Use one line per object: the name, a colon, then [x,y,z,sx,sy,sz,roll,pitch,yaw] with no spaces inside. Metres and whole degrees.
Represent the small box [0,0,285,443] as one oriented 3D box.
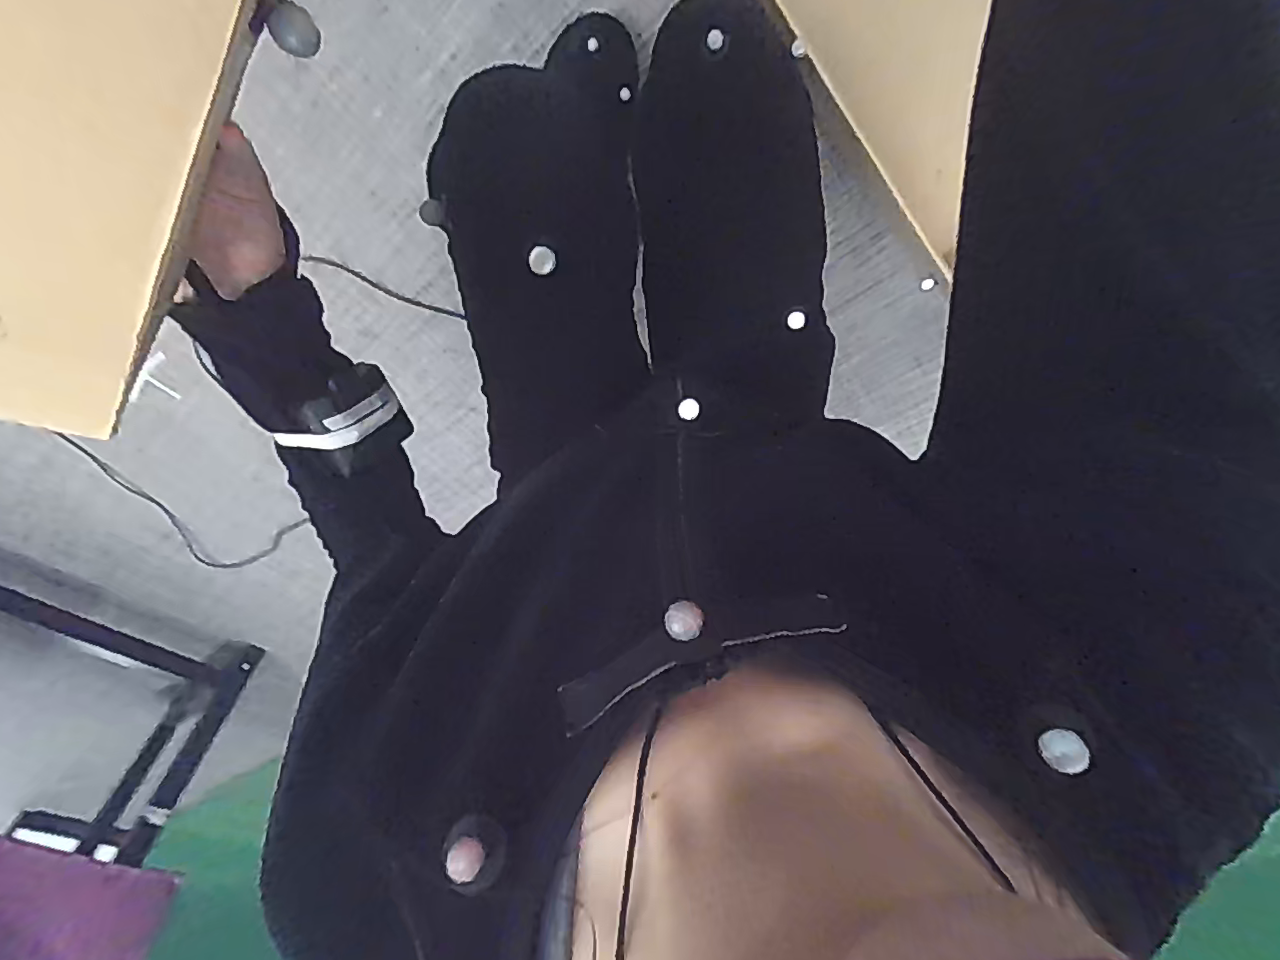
small box: [-0.212,-0.145,0.147,0.168,0.176,0.179,19,122,-41]
